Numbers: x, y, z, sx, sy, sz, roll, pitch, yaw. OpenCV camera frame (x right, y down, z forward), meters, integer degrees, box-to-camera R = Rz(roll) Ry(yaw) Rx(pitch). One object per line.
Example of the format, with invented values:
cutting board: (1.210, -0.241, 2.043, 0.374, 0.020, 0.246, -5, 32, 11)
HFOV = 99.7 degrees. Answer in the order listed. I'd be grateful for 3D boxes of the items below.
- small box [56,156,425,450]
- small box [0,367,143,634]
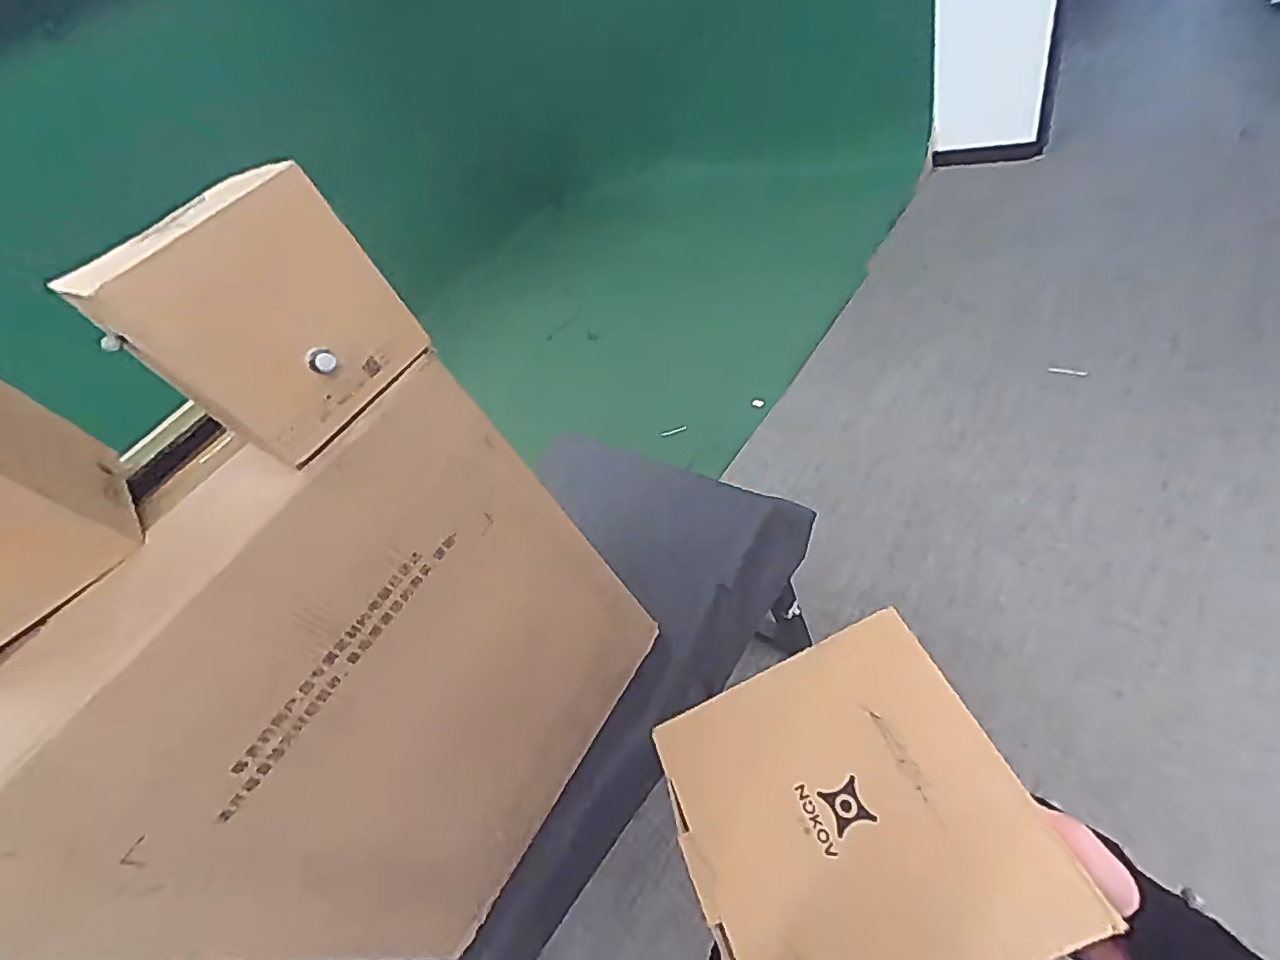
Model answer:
small box: (-0.332, -0.148, 0.471, 0.179, 0.176, 0.168, 19, 62, 36)
small box: (-0.551, 0.014, 0.416, 0.179, 0.176, 0.168, -42, 57, -14)
